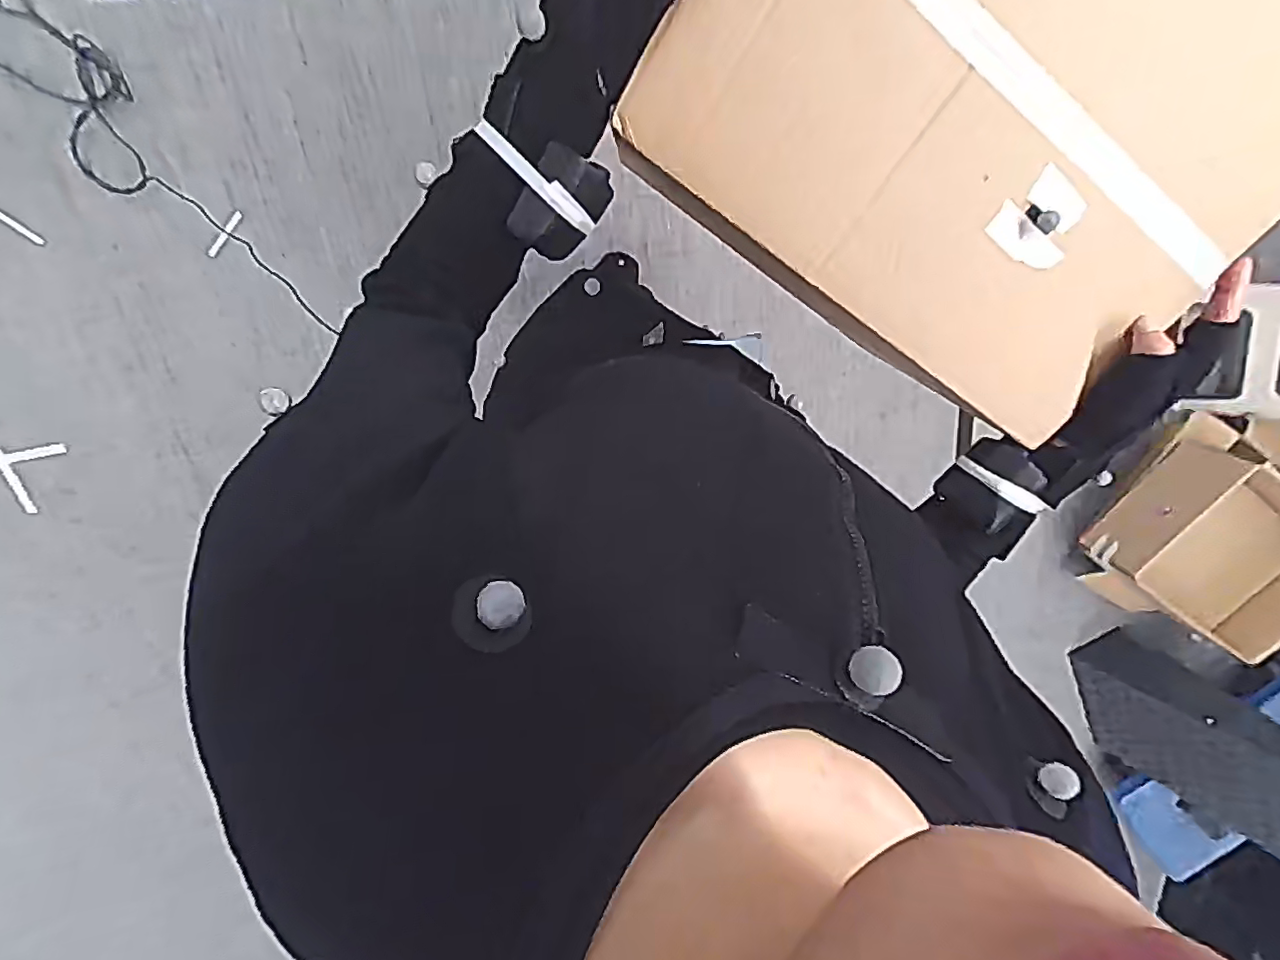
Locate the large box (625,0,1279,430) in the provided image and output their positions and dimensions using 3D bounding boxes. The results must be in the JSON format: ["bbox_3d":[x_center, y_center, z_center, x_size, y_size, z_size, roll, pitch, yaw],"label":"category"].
[{"bbox_3d":[0.231,-0.314,0.476,0.408,0.320,0.320,30,114,-16],"label":"large box"}]
